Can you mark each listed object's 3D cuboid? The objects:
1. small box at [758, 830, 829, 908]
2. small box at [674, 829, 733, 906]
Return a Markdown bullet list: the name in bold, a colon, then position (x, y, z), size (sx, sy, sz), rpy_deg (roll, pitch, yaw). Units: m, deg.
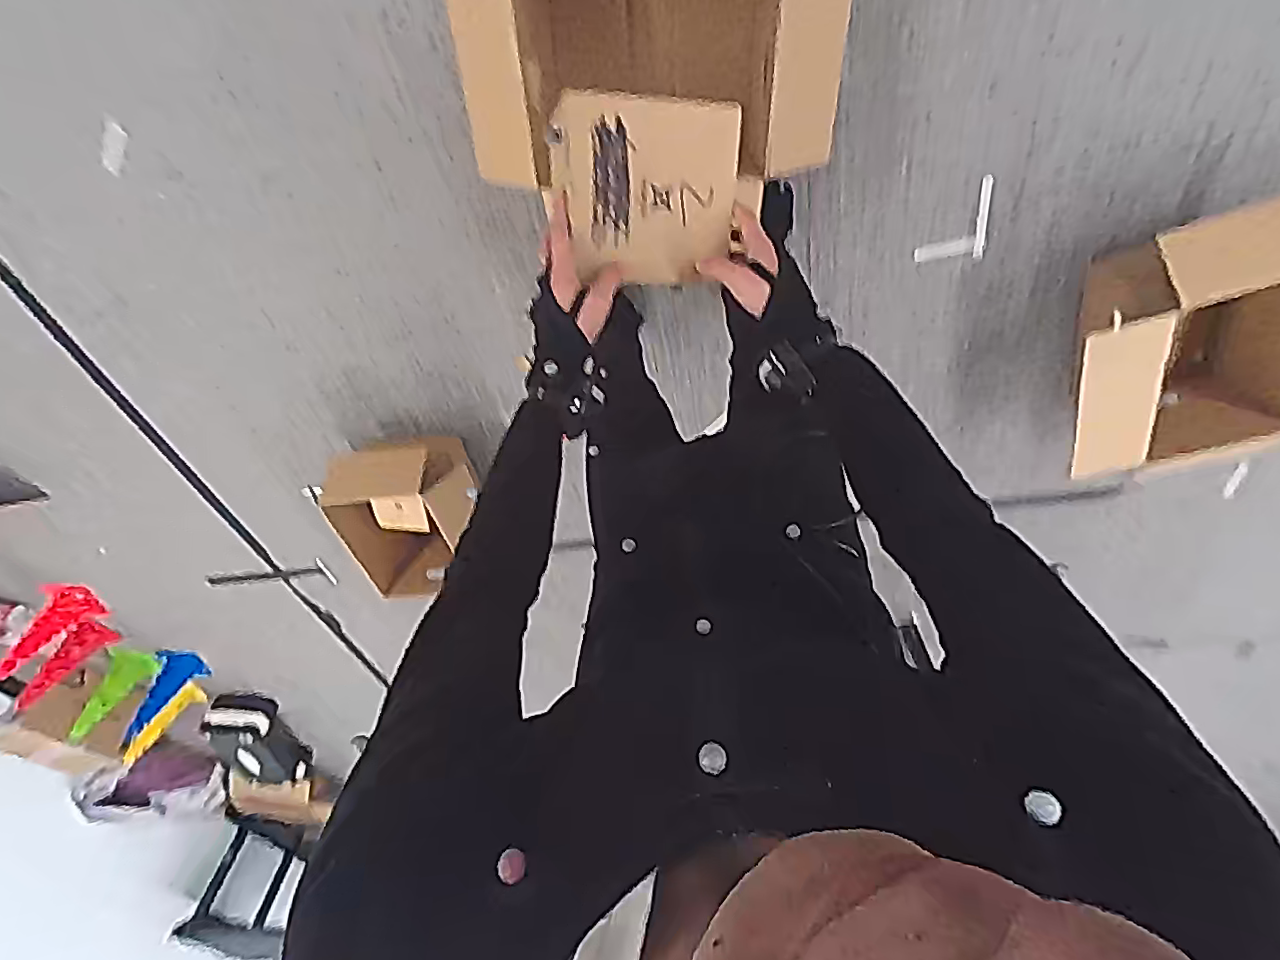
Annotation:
- **small box**: position (0.485, 1.248, 1.739), size (0.179, 0.176, 0.168), rpy_deg (2, 131, 0)
- **small box**: position (0.205, 1.259, 1.757), size (0.179, 0.176, 0.168), rpy_deg (-7, 130, 7)
